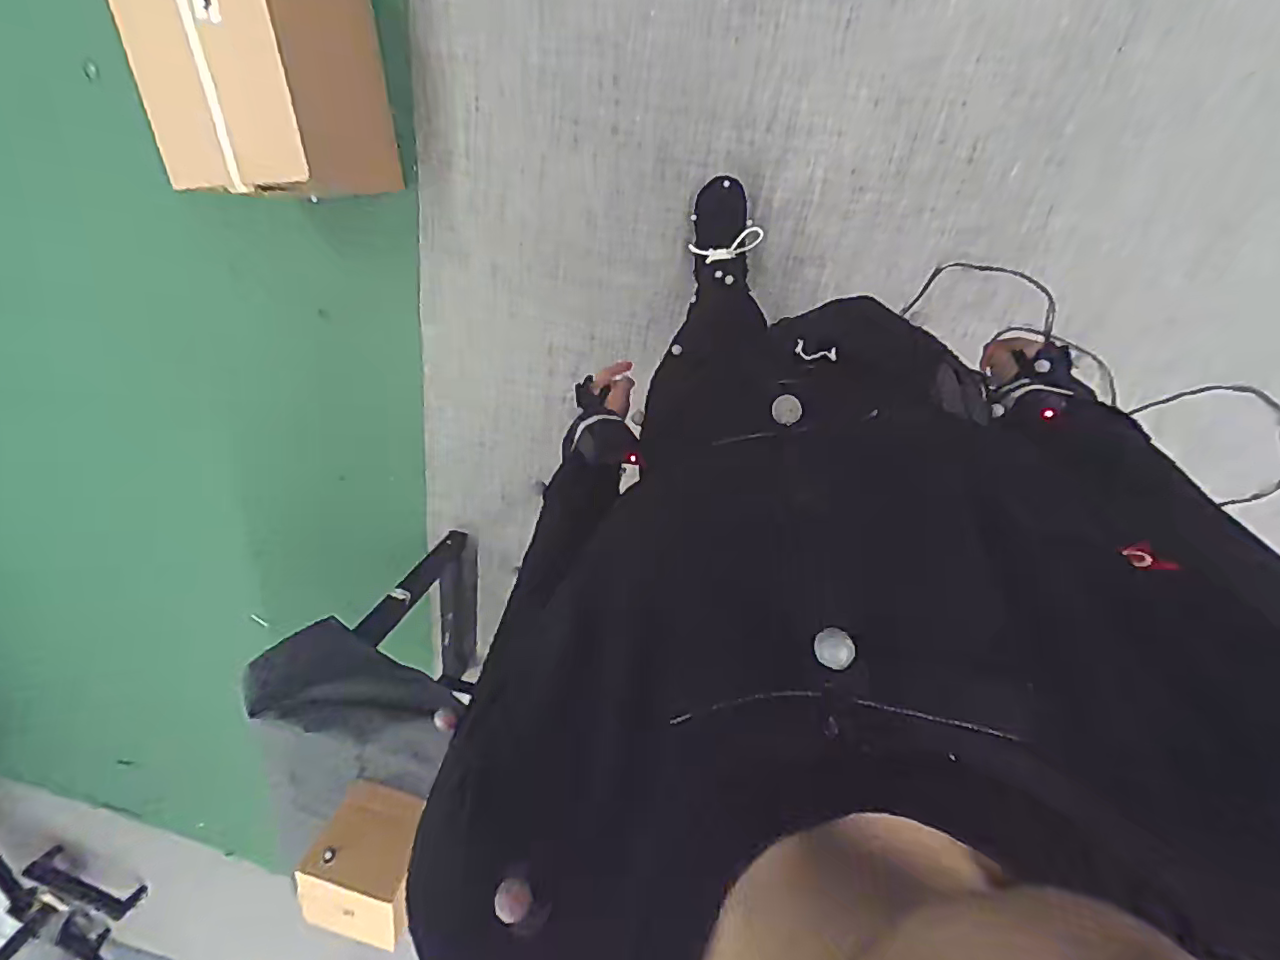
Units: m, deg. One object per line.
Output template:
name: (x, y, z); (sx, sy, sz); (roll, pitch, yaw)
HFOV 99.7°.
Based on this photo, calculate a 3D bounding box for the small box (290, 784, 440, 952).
small box: (-0.476, 0.681, 0.963); (0.179, 0.176, 0.168); (15, 117, 5)
